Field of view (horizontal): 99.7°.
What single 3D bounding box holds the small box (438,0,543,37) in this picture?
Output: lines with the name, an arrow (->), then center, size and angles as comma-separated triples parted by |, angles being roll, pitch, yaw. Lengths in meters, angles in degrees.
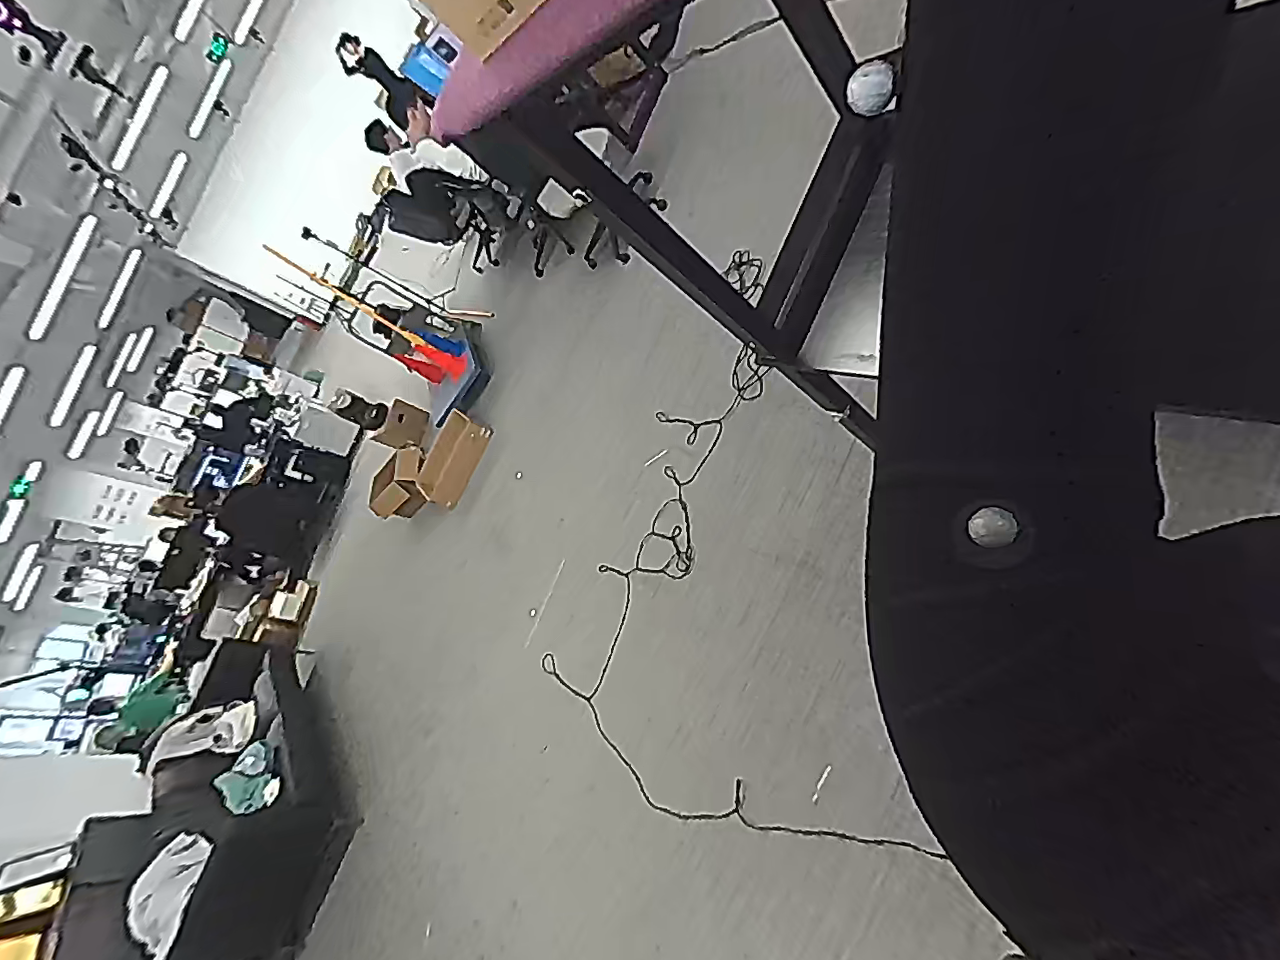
small box -> -0.146, -0.566, 0.501 | 0.168, 0.176, 0.179 | 19, 85, 49
